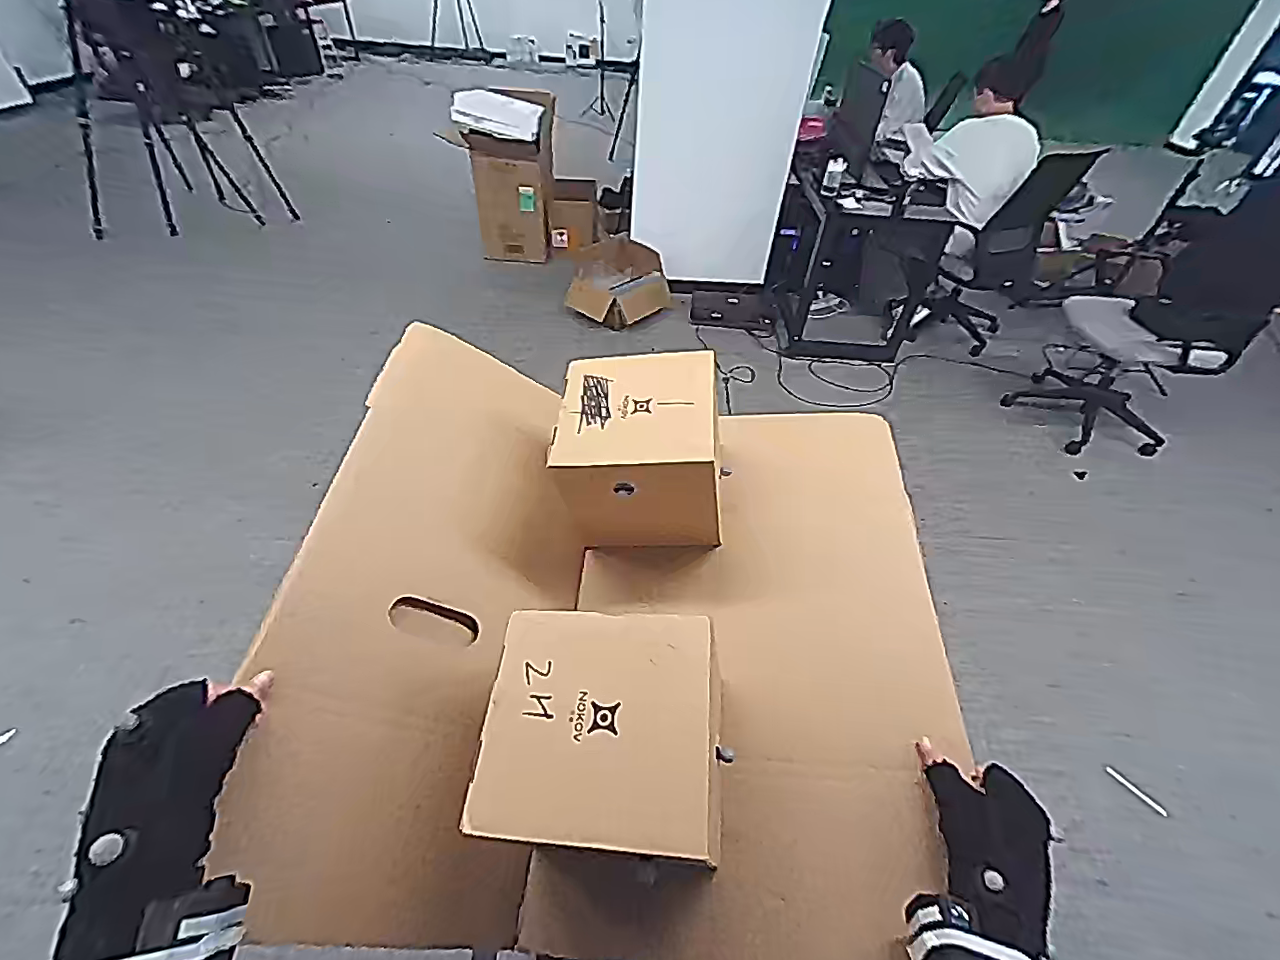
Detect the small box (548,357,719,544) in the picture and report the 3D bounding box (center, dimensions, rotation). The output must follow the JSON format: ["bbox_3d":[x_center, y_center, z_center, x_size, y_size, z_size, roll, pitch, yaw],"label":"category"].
[{"bbox_3d":[0.005,-0.030,0.672,0.179,0.176,0.168,-1,53,10],"label":"small box"}]
